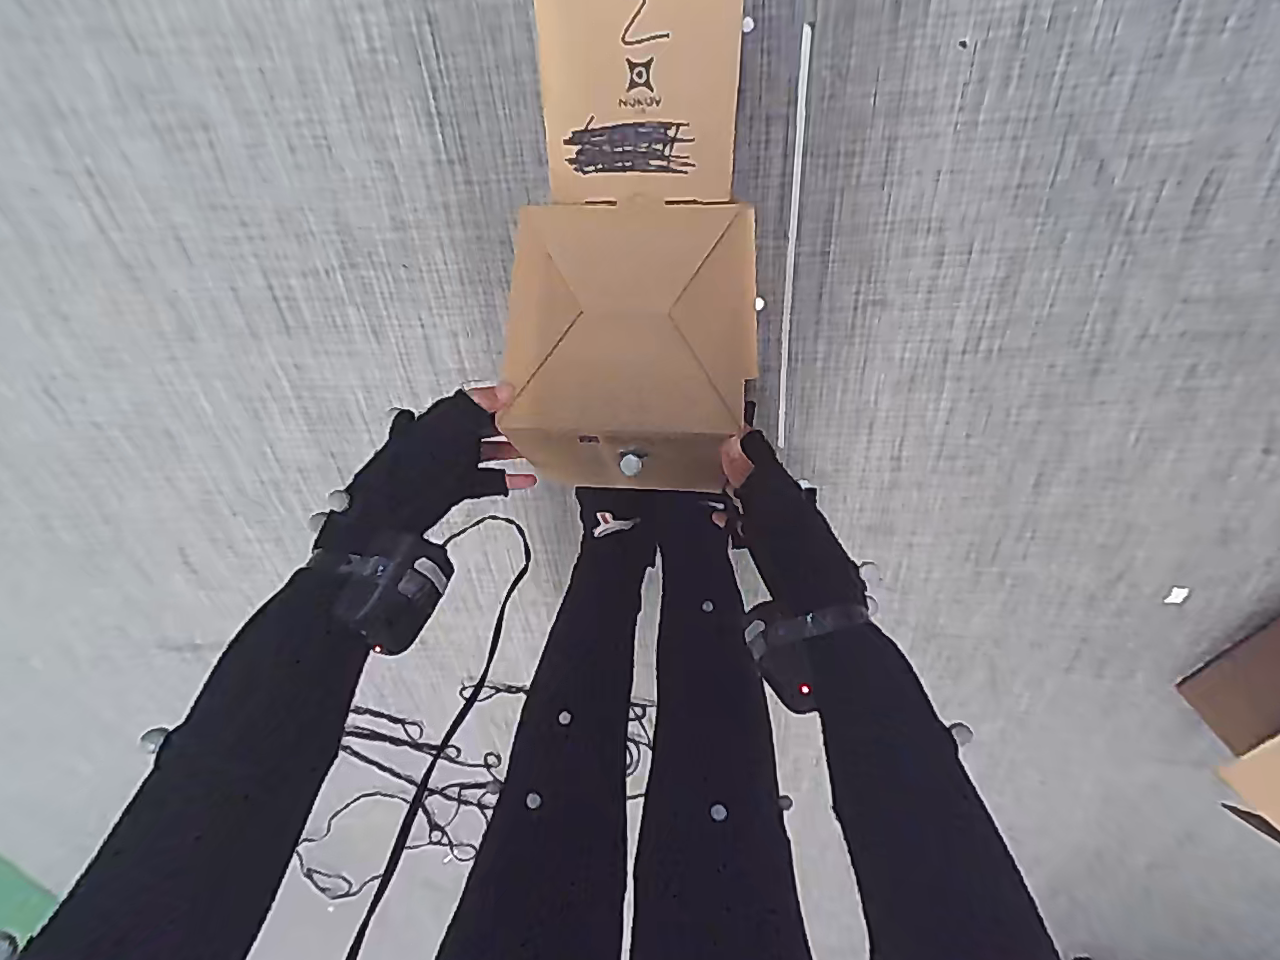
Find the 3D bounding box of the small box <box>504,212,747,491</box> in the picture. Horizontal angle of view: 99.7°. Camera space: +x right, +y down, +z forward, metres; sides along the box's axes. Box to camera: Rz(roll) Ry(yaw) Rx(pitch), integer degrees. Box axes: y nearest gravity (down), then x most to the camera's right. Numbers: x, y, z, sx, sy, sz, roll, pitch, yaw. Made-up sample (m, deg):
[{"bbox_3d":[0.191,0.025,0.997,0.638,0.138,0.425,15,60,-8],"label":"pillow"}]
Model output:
[{"bbox_3d":[-0.003,-0.095,0.449,0.168,0.179,0.176,2,165,5],"label":"small box"}]
